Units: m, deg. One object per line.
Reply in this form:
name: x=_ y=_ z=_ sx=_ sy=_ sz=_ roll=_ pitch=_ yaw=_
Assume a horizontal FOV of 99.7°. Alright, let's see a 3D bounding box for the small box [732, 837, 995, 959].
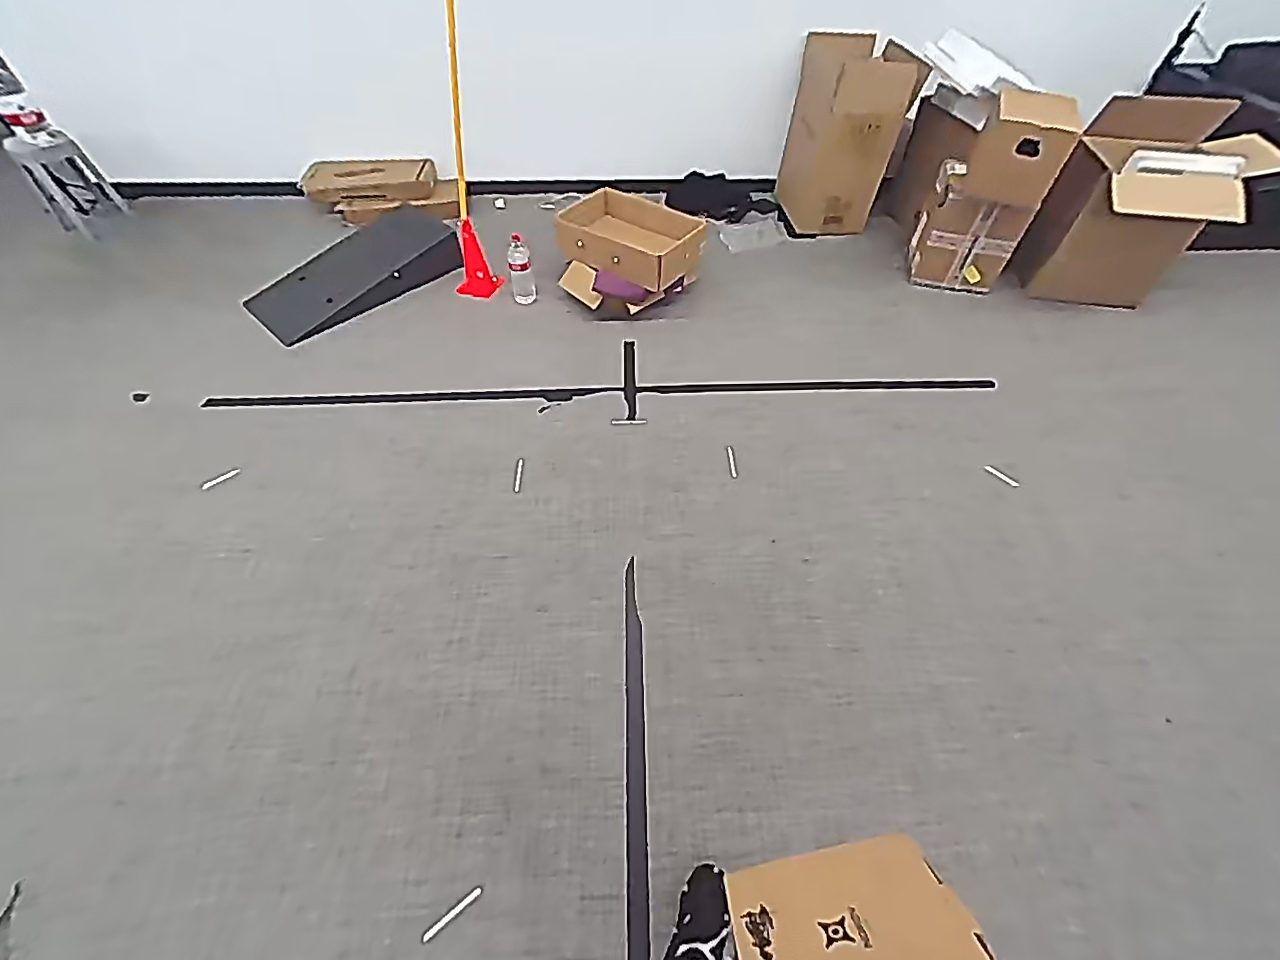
small box: x=0.187 y=0.437 z=0.431 sx=0.179 sy=0.168 sz=0.176 roll=-14 pitch=91 yaw=1
